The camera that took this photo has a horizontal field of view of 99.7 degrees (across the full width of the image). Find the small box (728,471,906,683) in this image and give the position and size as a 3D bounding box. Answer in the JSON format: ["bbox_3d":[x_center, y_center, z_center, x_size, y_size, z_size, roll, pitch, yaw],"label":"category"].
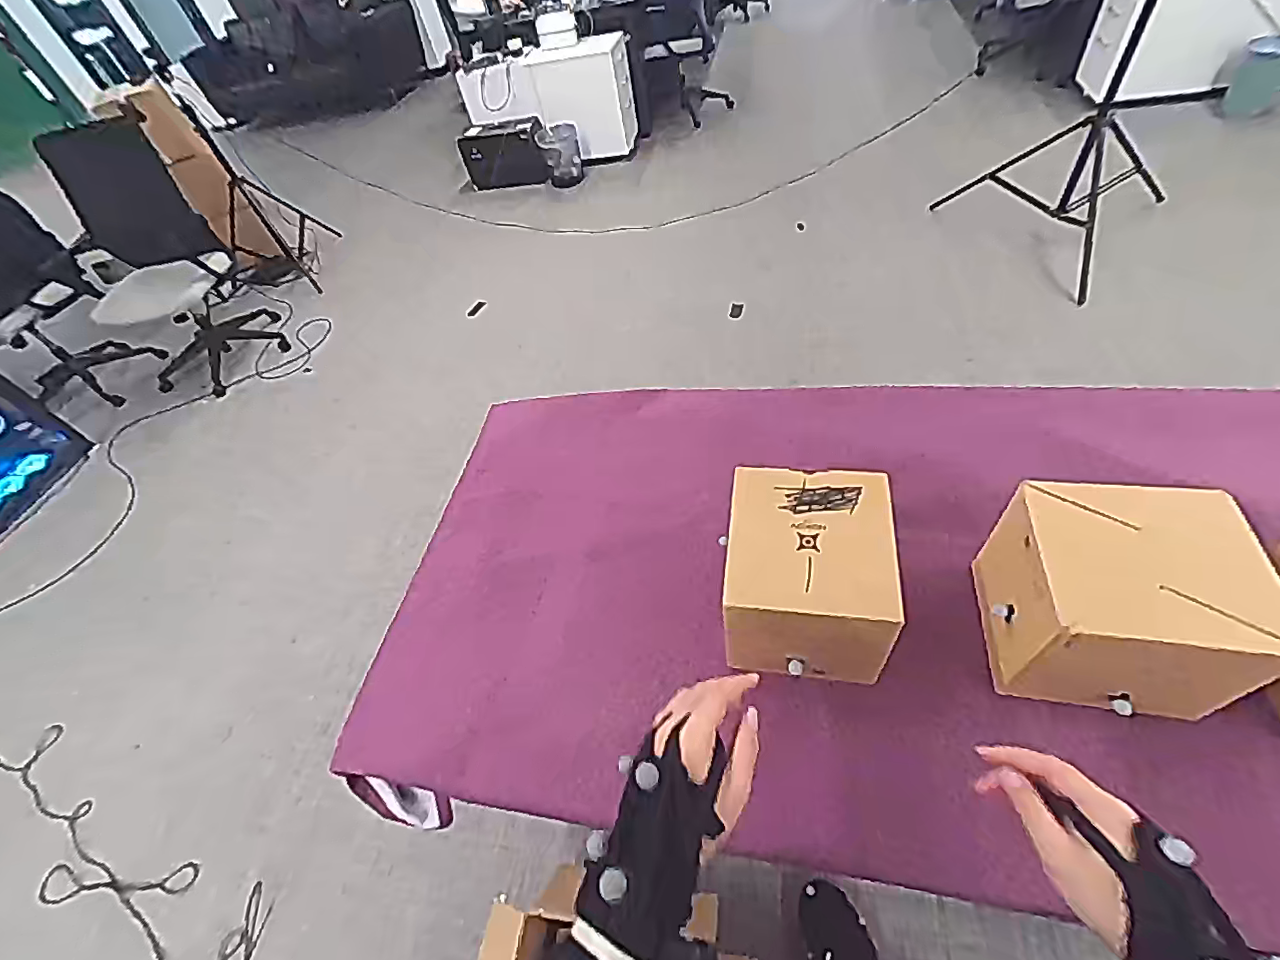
[{"bbox_3d":[0.193,0.110,0.623,0.168,0.176,0.179,2,52,14],"label":"small box"}]

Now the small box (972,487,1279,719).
[{"bbox_3d":[0.472,0.120,0.550,0.179,0.176,0.168,3,50,16],"label":"small box"}]
